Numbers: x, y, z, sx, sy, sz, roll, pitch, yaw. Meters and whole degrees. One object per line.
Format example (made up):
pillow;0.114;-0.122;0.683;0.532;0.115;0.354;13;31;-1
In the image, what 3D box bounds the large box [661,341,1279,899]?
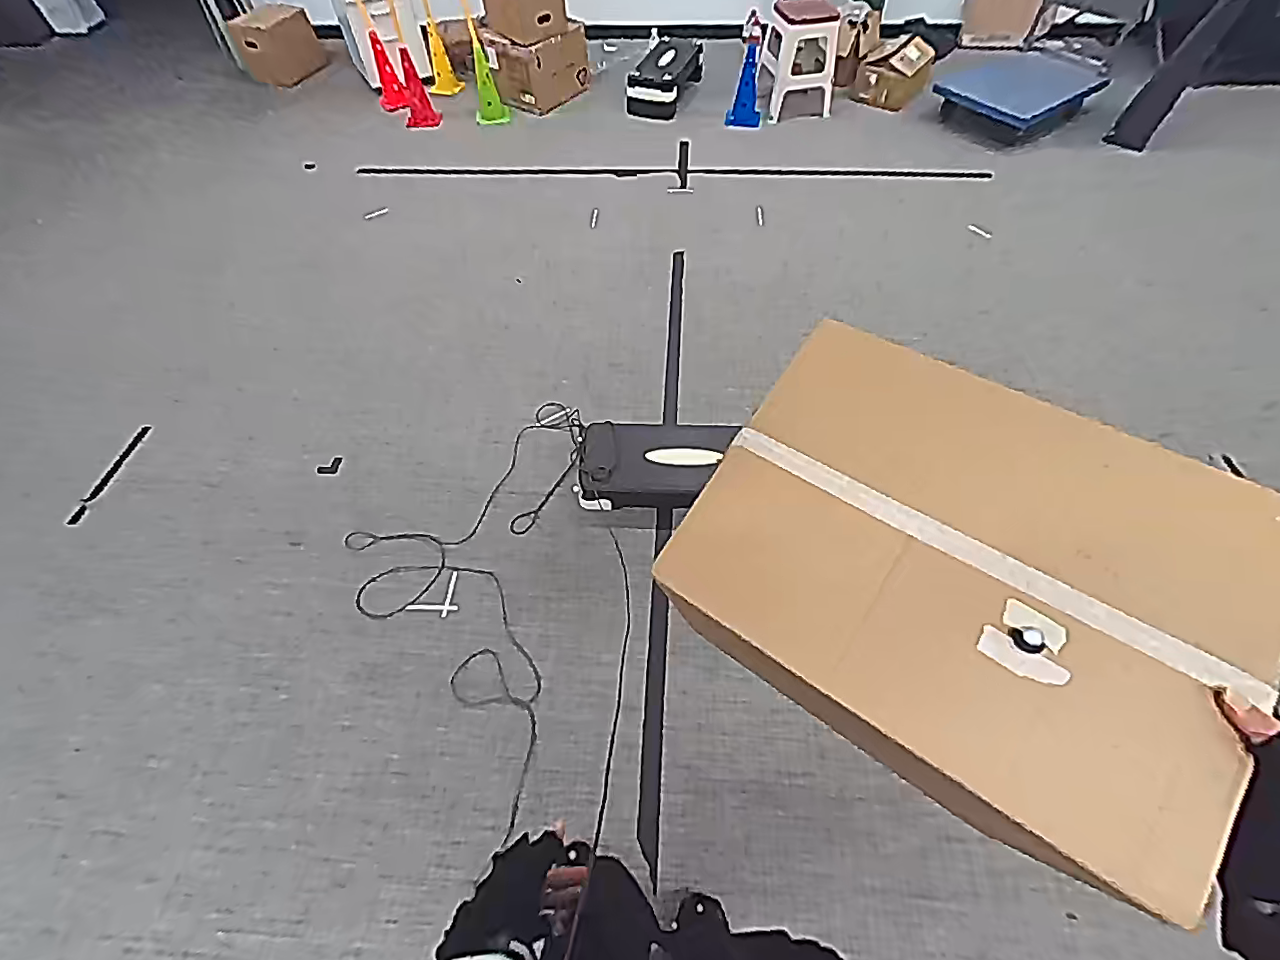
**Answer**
large box;0.288;0.121;0.586;0.408;0.320;0.320;30;76;23
